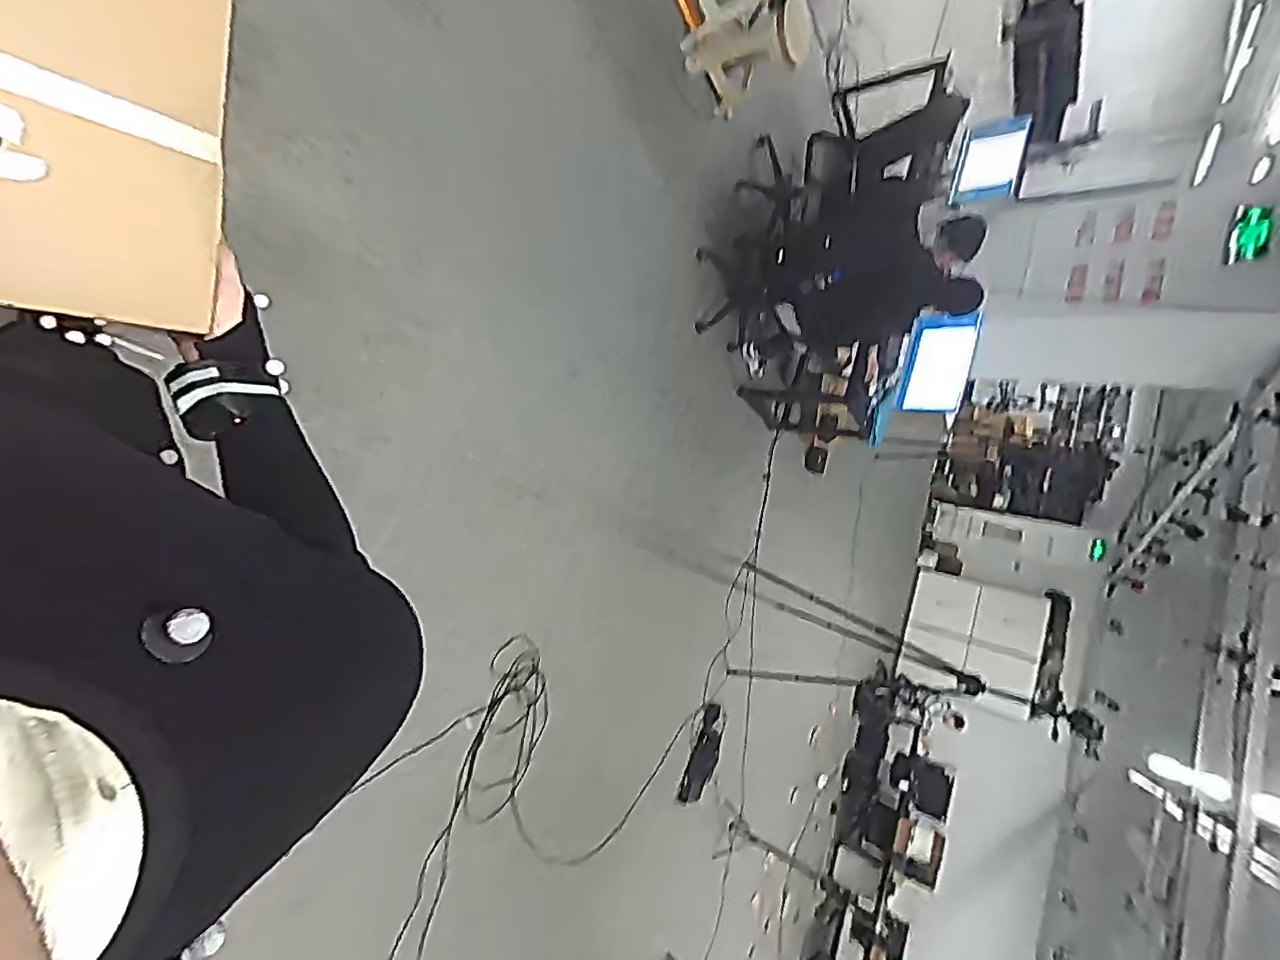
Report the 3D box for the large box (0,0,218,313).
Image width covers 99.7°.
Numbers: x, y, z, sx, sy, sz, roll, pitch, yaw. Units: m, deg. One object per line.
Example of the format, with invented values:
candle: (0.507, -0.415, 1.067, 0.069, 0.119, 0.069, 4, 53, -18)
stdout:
large box: (-0.602, -0.328, 0.384, 0.408, 0.320, 0.320, -7, 115, -56)
